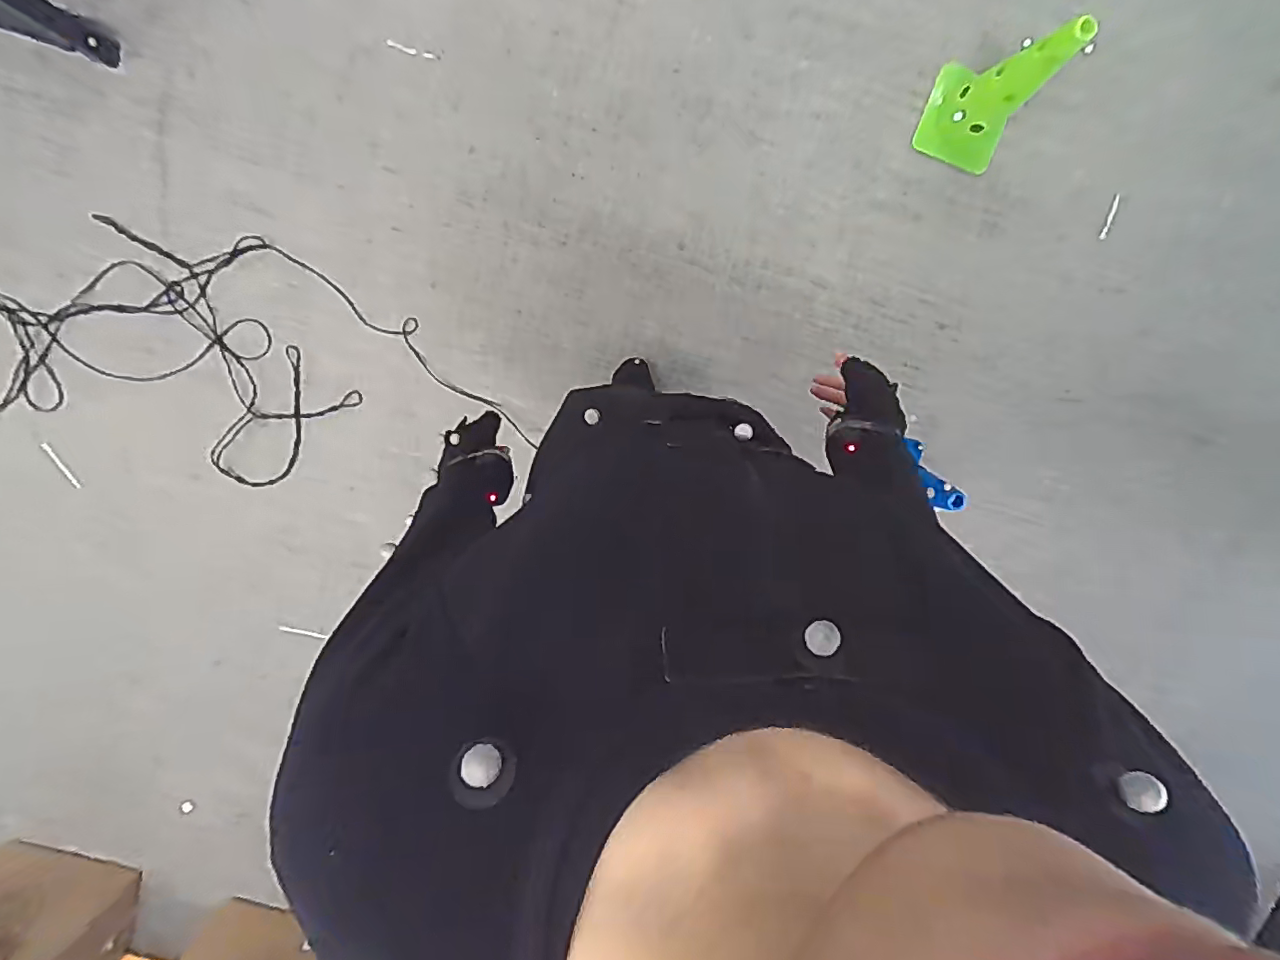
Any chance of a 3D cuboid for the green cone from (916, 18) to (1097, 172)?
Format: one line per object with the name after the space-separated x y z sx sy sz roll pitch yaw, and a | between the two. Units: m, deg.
0.791 -0.840 1.136 0.200 0.368 0.202 18 100 -4 | green cone
